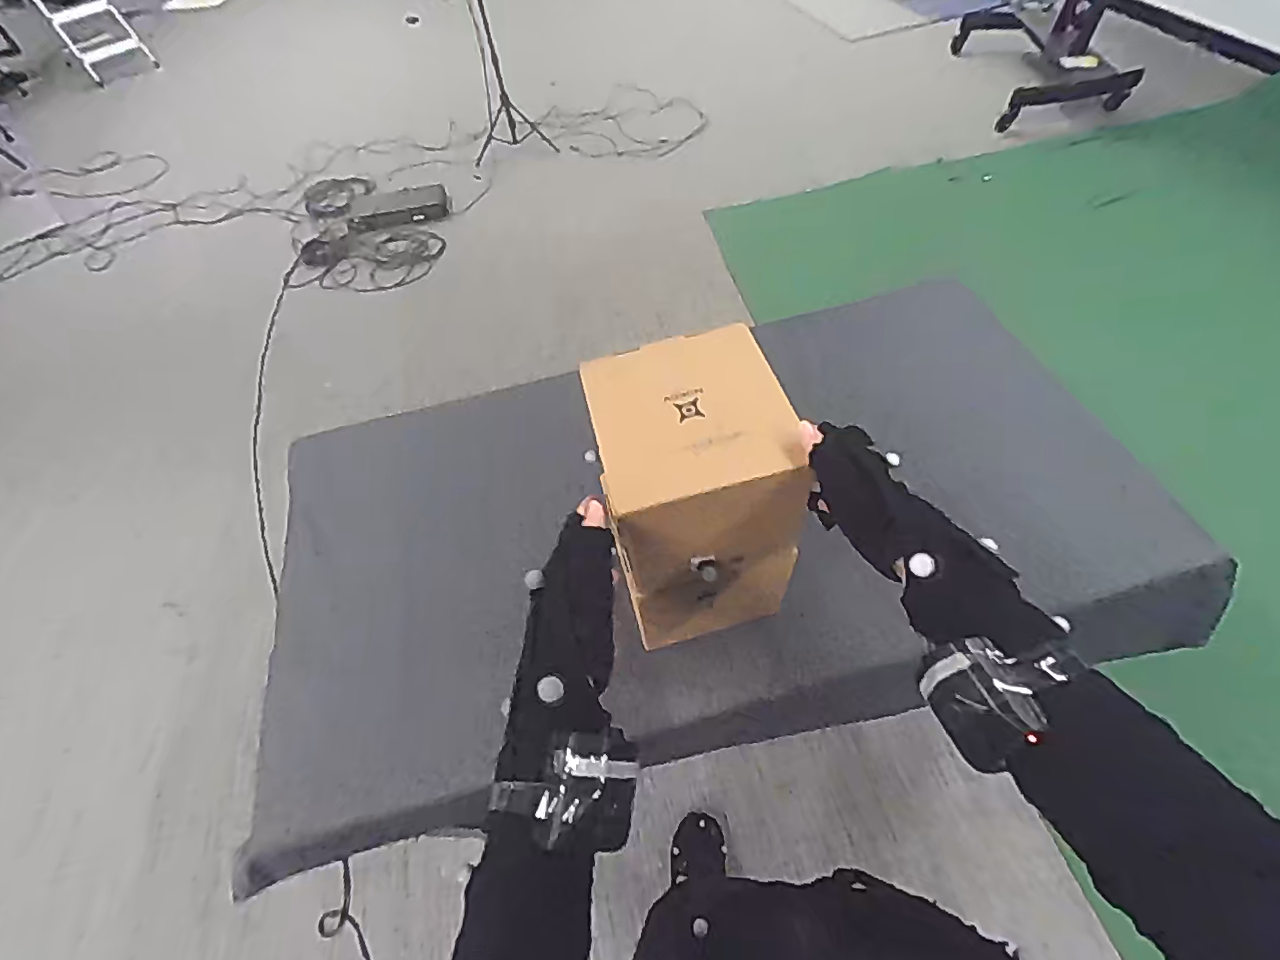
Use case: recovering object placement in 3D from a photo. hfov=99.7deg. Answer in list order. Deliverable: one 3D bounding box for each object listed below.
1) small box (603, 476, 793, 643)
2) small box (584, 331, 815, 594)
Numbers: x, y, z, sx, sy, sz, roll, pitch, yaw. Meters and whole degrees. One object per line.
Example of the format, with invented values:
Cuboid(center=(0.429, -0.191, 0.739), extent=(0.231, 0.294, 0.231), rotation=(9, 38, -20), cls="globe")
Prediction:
Cuboid(center=(0.065, 0.082, 0.667), extent=(0.179, 0.176, 0.168), rotation=(-15, 55, -6), cls="small box")
Cuboid(center=(0.049, -0.013, 0.536), extent=(0.168, 0.176, 0.179), rotation=(-14, 55, -3), cls="small box")
